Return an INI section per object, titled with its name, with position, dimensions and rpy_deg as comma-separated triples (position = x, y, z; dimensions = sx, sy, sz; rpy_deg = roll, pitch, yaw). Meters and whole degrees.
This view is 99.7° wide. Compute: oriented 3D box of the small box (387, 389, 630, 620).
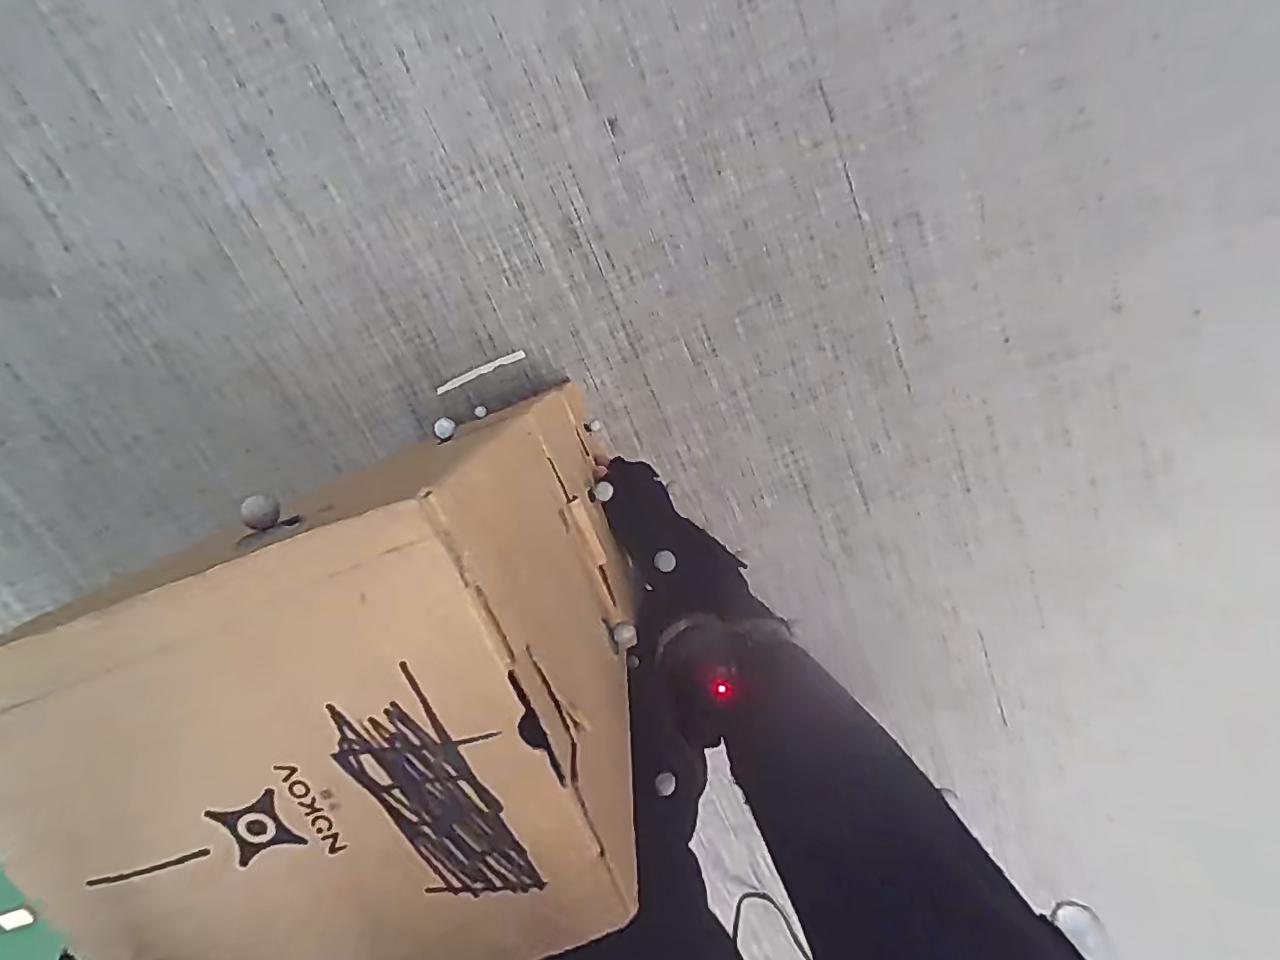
[small box]
position = -0.121, 0.012, 0.573
dimensions = 0.179, 0.176, 0.168
rpy_deg = -21, 103, 4
